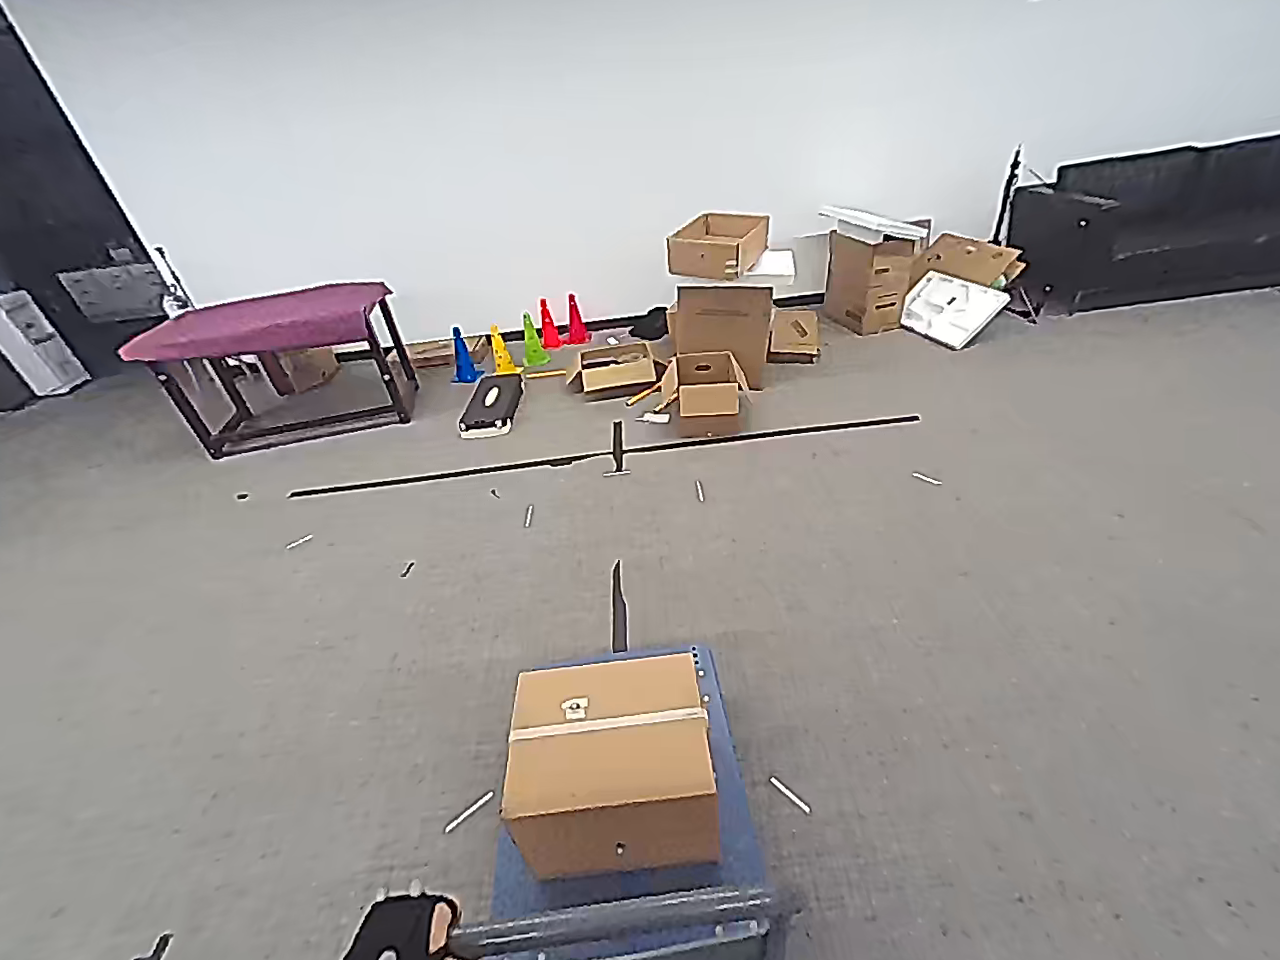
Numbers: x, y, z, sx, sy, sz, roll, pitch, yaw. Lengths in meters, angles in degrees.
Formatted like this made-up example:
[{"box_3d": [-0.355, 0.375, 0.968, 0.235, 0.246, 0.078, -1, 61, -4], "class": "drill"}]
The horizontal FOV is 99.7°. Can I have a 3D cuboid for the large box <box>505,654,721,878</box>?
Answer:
[{"box_3d": [-0.049, 0.639, 1.214, 0.408, 0.320, 0.320, -8, 34, 1], "class": "large box"}]
